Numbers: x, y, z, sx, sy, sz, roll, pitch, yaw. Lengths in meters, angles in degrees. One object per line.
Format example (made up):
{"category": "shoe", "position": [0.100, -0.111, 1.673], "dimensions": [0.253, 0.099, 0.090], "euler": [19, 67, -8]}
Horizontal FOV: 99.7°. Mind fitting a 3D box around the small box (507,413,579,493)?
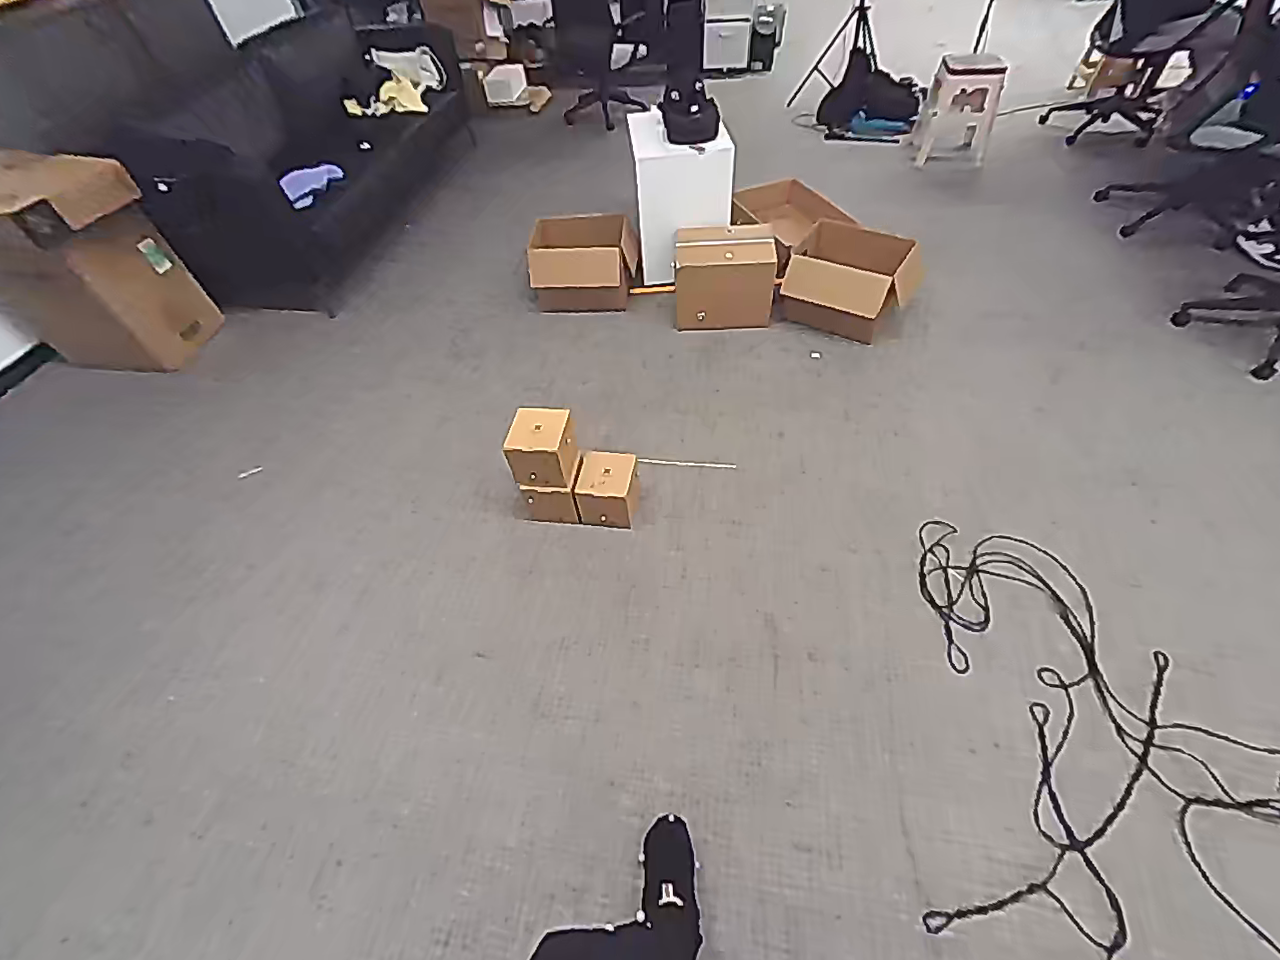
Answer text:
{"category": "small box", "position": [-0.289, -0.084, 1.662], "dimensions": [0.168, 0.176, 0.179], "euler": [4, 51, 8]}
